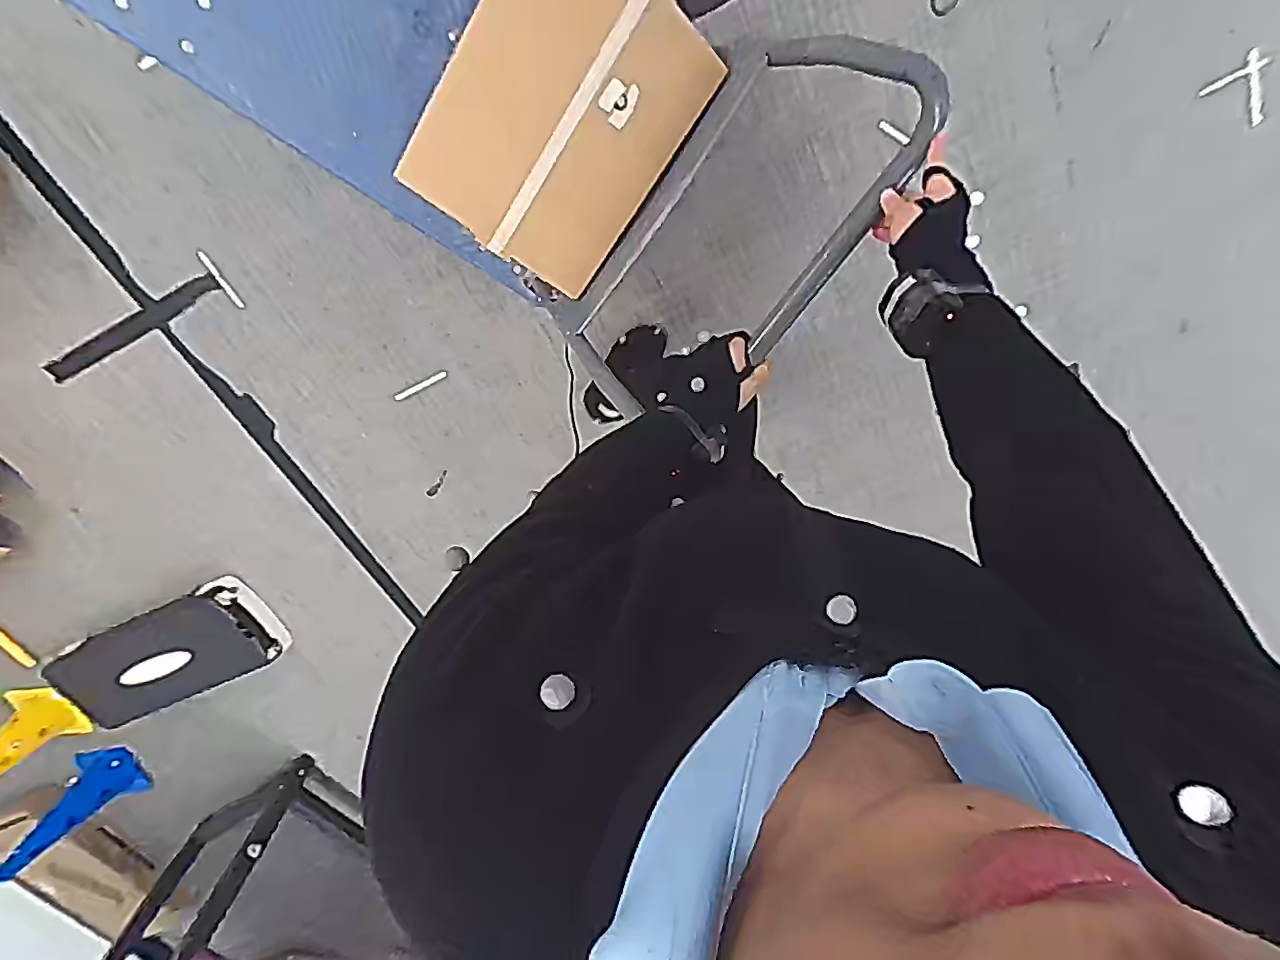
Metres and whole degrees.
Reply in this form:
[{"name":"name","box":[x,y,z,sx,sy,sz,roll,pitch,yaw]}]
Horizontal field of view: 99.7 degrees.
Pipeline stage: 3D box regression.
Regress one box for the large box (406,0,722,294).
[{"name":"large box","box":[-0.148,-0.595,0.894,0.320,0.320,0.408,25,111,-33]}]
